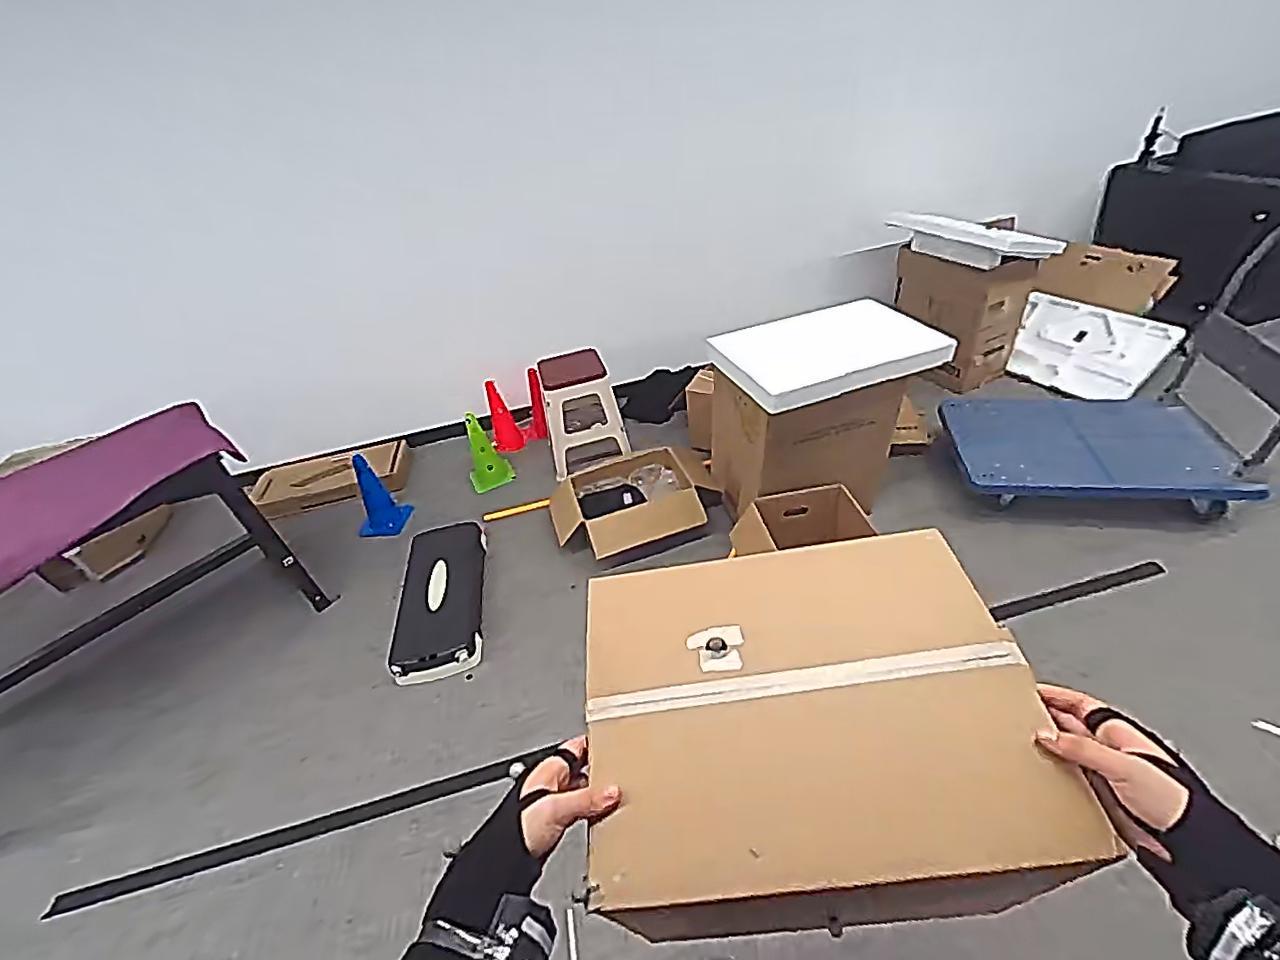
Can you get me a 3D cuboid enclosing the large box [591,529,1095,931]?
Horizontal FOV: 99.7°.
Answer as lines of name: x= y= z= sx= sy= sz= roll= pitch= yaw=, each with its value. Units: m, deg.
large box: x=0.176 y=0.301 z=0.637 sx=0.408 sy=0.320 sz=0.320 roll=-11 pitch=44 yaw=5
